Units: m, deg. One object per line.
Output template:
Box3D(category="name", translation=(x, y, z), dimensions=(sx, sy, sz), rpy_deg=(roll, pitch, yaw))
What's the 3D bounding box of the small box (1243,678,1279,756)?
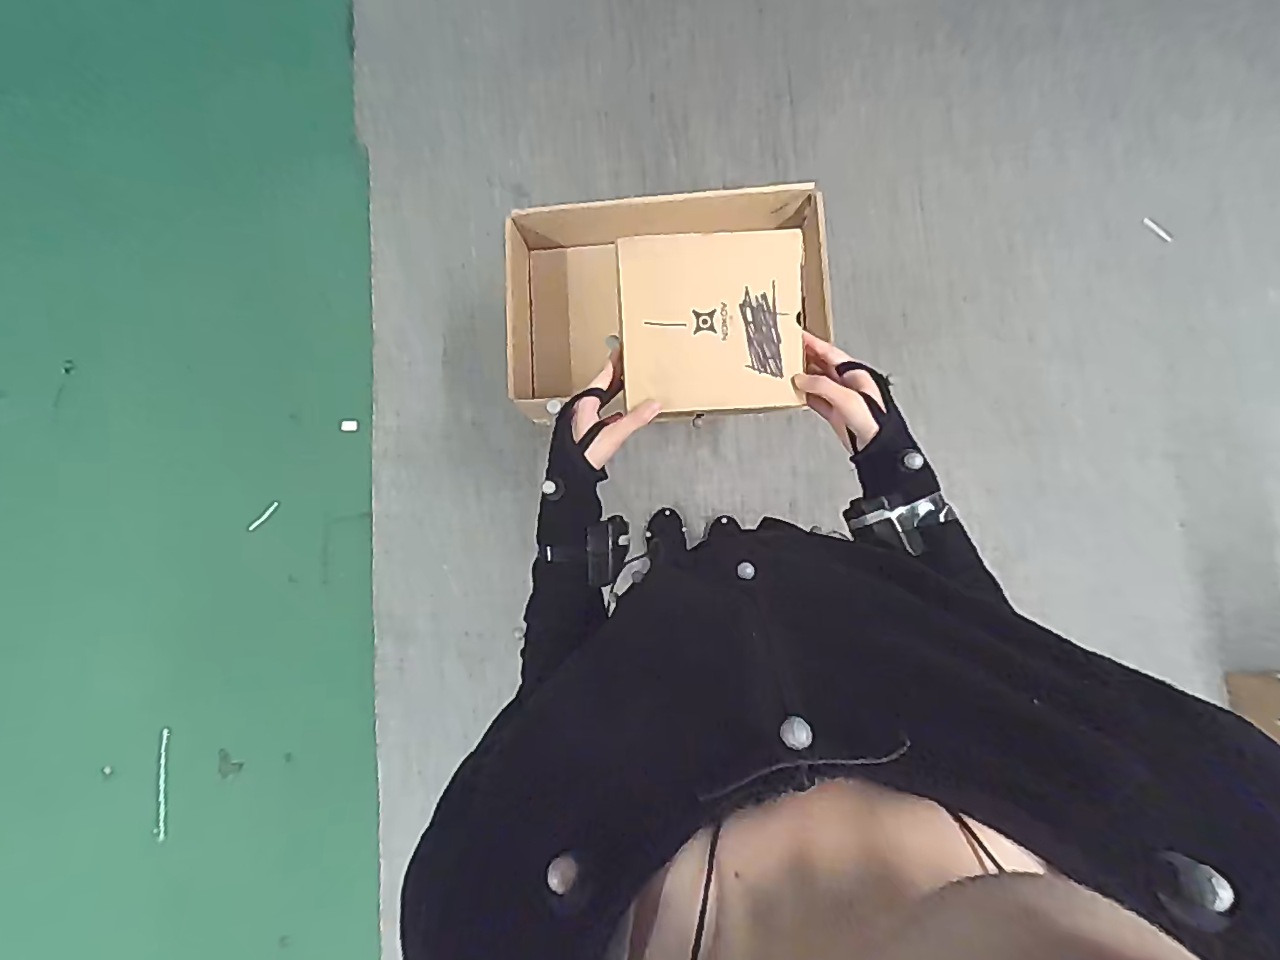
Box3D(category="small box", translation=(1.593, 0.570, 1.272), dimensions=(0.168, 0.176, 0.179), rpy_deg=(-5, 84, 5))
